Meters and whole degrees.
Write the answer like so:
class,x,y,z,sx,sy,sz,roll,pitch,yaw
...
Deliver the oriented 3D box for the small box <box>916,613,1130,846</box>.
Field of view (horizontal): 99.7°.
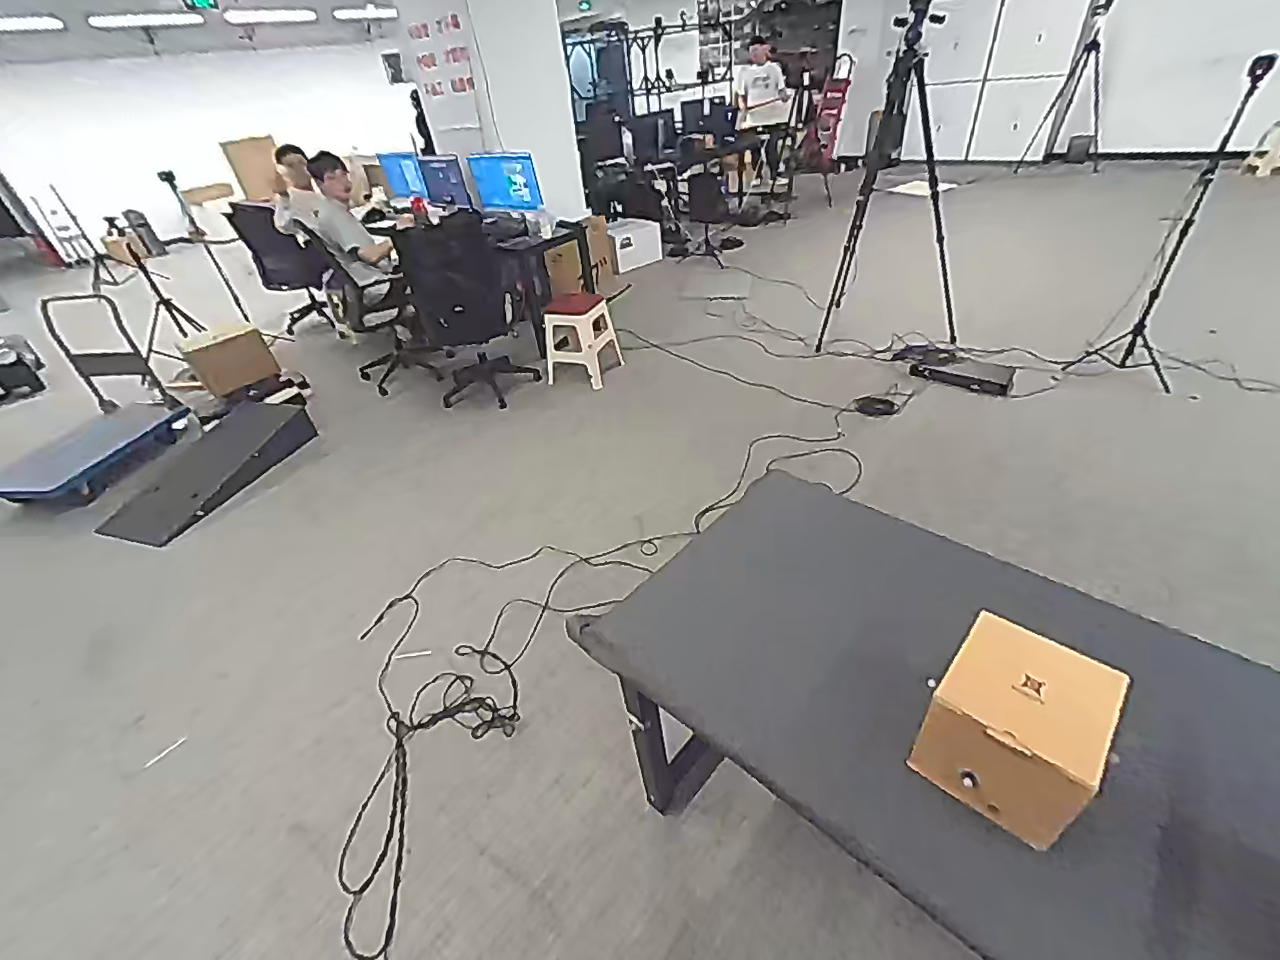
class,x,y,z,sx,sy,sz,roll,pitch,yaw
small box,0.484,0.317,0.702,0.168,0.176,0.179,26,48,37
